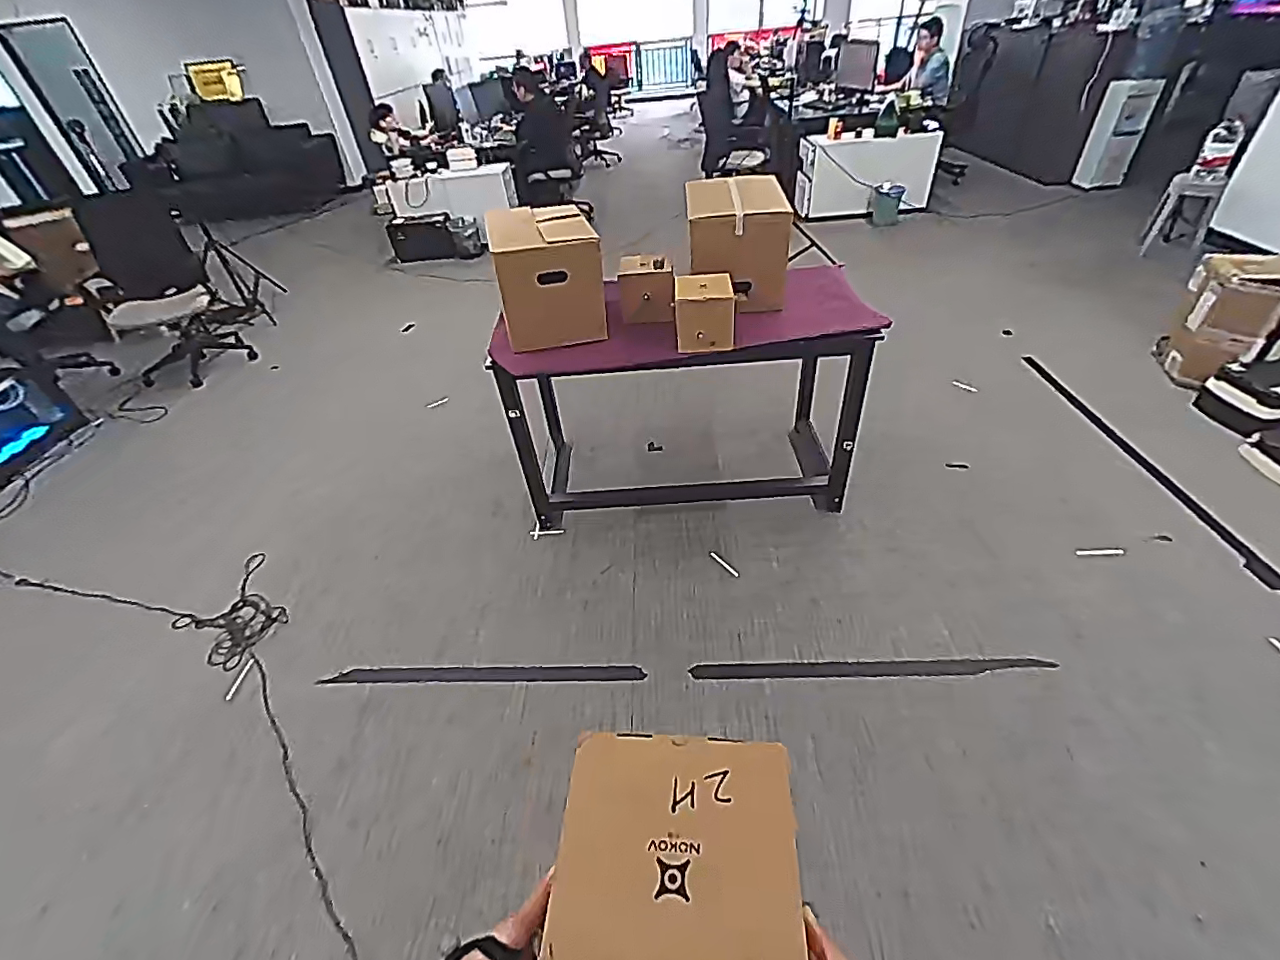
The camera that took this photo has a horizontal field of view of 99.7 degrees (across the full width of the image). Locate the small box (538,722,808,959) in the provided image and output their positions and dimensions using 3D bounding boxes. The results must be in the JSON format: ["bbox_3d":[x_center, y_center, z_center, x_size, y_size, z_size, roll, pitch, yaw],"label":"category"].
[{"bbox_3d":[0.032,0.314,0.415,0.168,0.176,0.179,0,39,7],"label":"small box"}]
